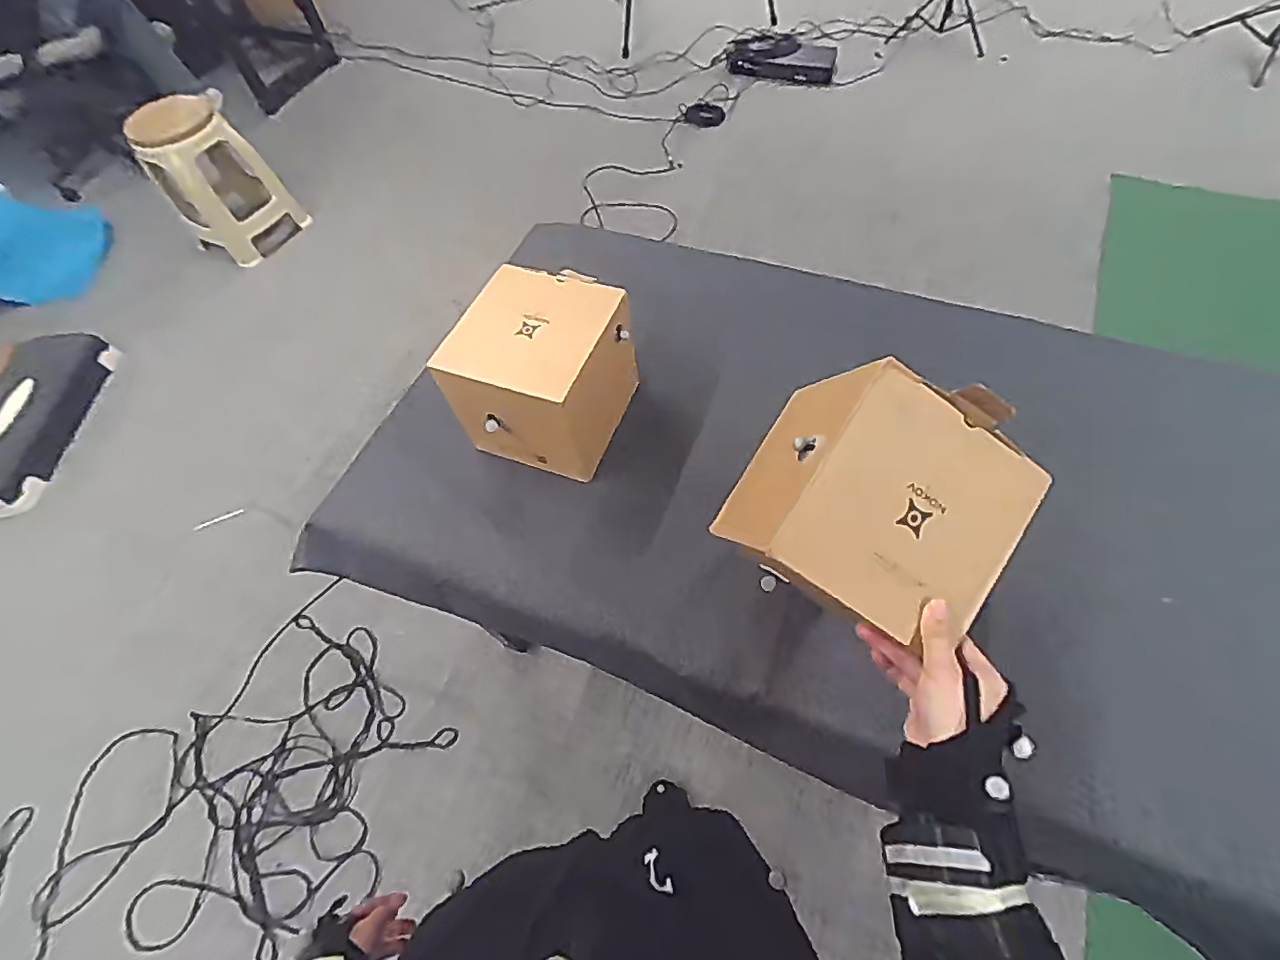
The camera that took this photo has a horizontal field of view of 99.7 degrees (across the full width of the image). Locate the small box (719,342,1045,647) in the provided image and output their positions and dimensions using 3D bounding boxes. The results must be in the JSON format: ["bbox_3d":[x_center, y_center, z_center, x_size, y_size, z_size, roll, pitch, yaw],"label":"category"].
[{"bbox_3d":[0.192,0.012,0.482,0.168,0.176,0.179,32,86,-6],"label":"small box"}]

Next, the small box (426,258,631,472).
[{"bbox_3d":[-0.117,-0.135,0.660,0.168,0.176,0.179,16,62,14],"label":"small box"}]
